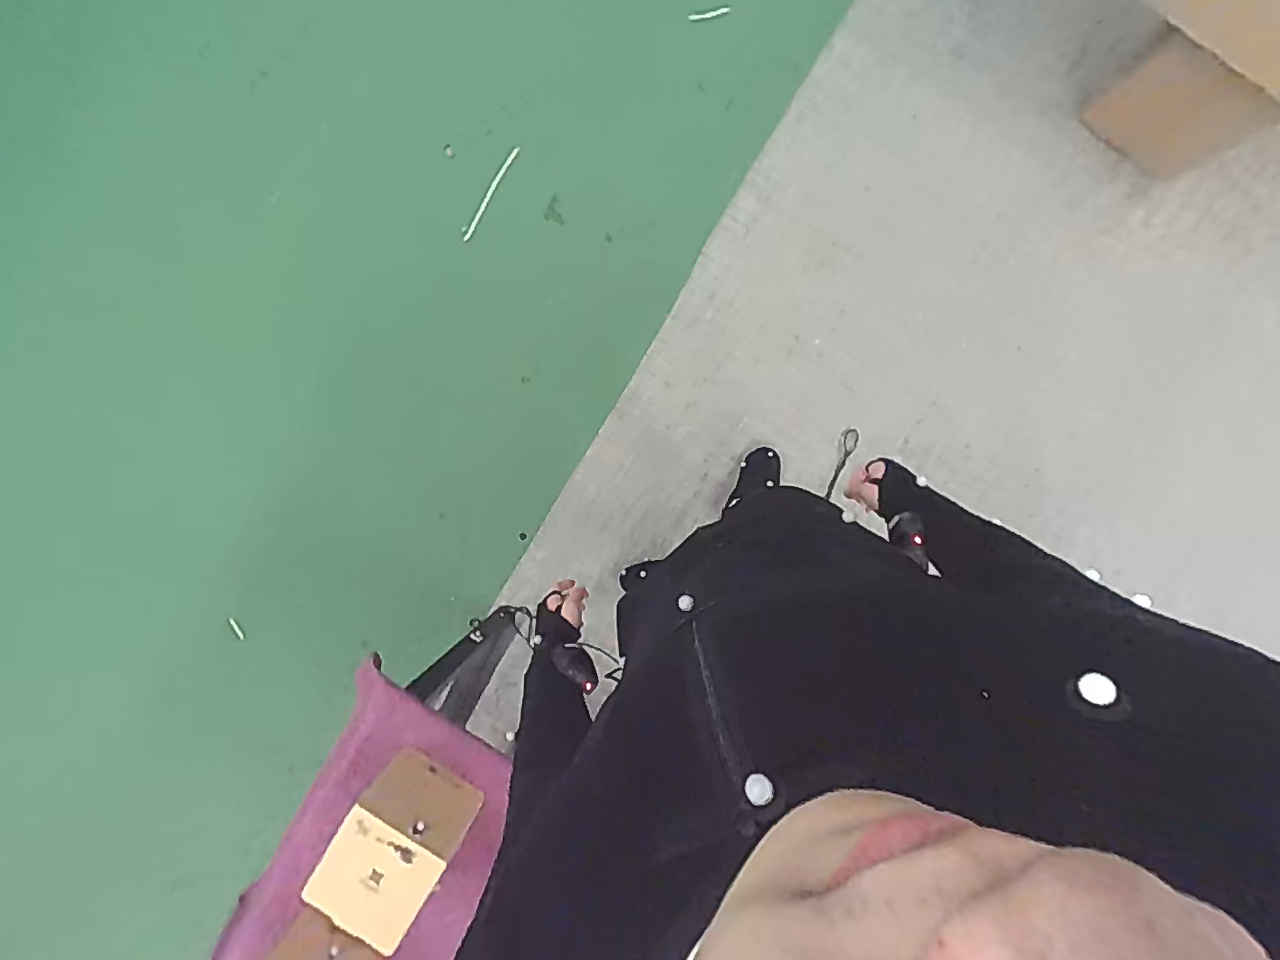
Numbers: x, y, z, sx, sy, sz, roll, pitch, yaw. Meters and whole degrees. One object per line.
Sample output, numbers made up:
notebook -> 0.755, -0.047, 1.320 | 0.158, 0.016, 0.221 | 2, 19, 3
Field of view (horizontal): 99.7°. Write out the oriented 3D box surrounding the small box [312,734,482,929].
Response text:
small box -> -0.394, 0.577, 0.910 | 0.168, 0.176, 0.179 | 32, 95, 2

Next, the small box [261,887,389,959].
small box -> -0.577, 0.880, 0.944 | 0.168, 0.176, 0.179 | 30, 95, 0
